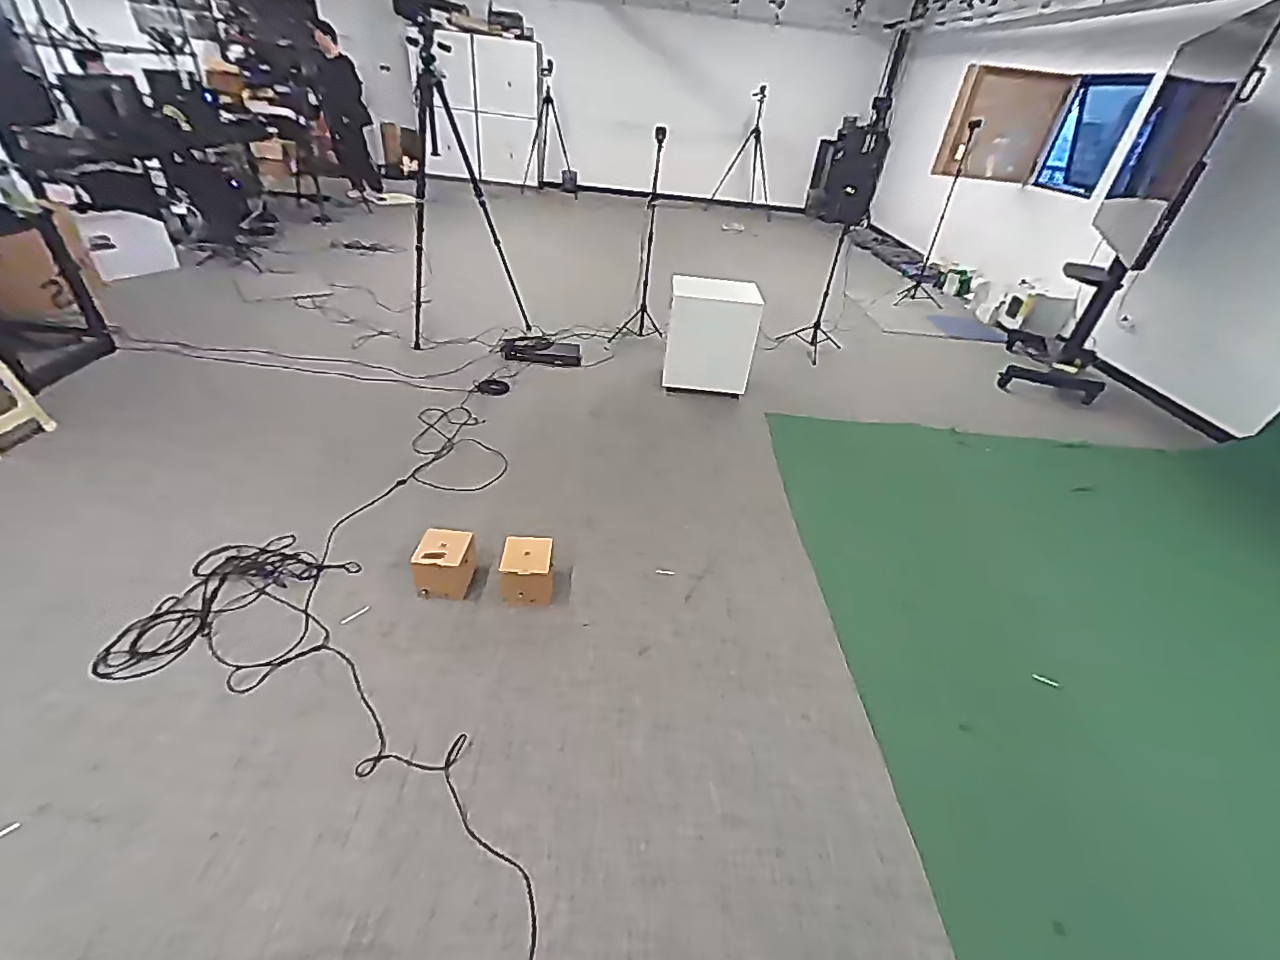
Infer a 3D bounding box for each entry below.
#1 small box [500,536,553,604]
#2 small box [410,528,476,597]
[{"bbox_3d":[-0.403,0.322,1.937,0.168,0.176,0.179,3,37,-5],"label":"small box"},{"bbox_3d":[-0.692,0.294,1.925,0.168,0.176,0.179,6,36,-1],"label":"small box"}]
